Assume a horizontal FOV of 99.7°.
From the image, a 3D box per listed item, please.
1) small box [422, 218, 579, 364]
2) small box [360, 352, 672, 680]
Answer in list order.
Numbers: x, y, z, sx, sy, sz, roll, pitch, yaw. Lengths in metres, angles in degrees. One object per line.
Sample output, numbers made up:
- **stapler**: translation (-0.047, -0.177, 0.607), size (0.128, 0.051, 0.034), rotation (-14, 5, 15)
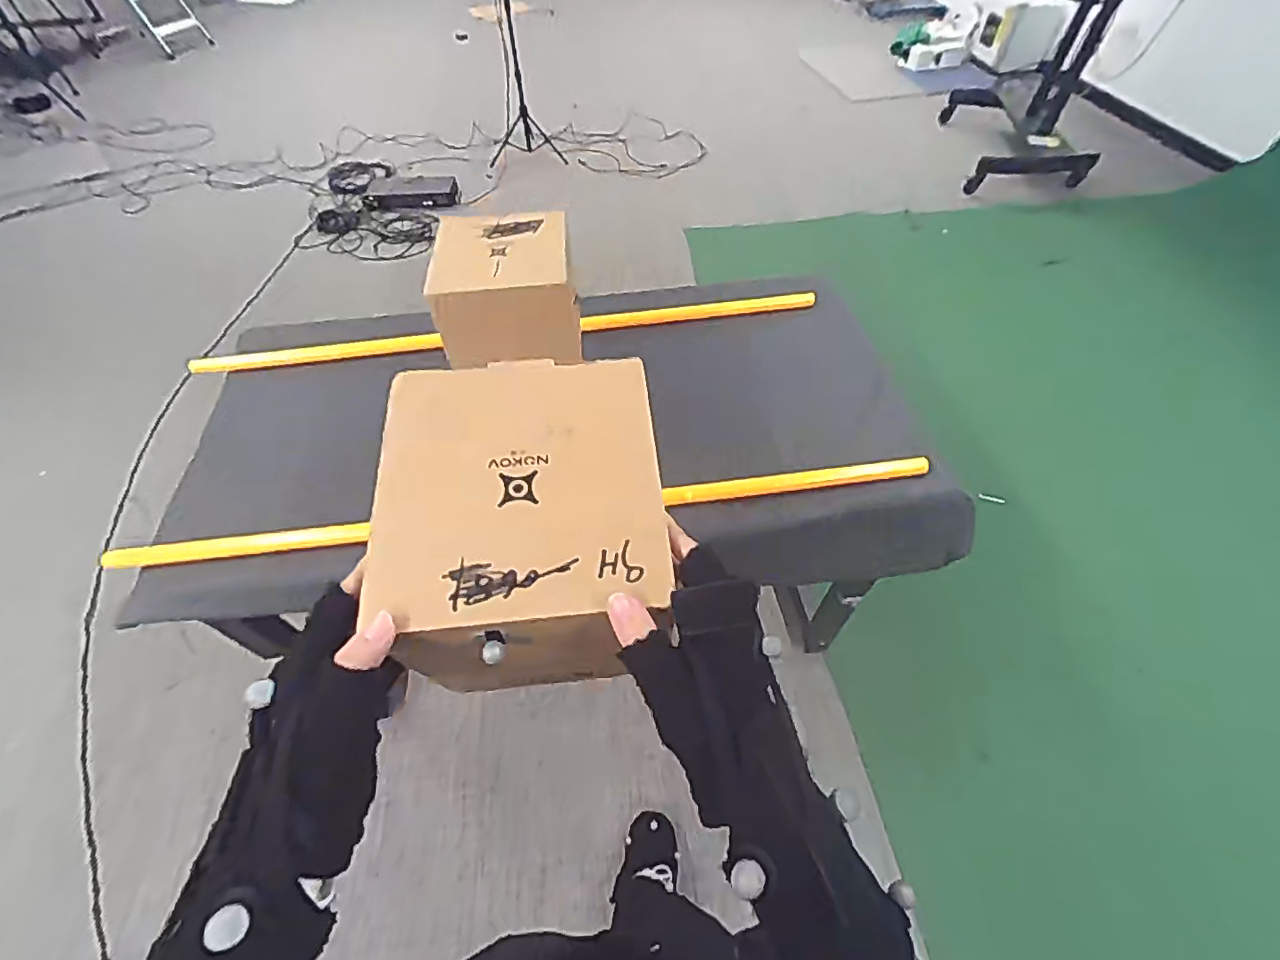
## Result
- **small box**: translation (-0.175, -0.228, 0.735), size (0.168, 0.176, 0.179), rotation (-6, 53, -2)
- **small box**: translation (-0.073, 0.032, 0.394), size (0.168, 0.176, 0.179), rotation (-5, 59, -3)
